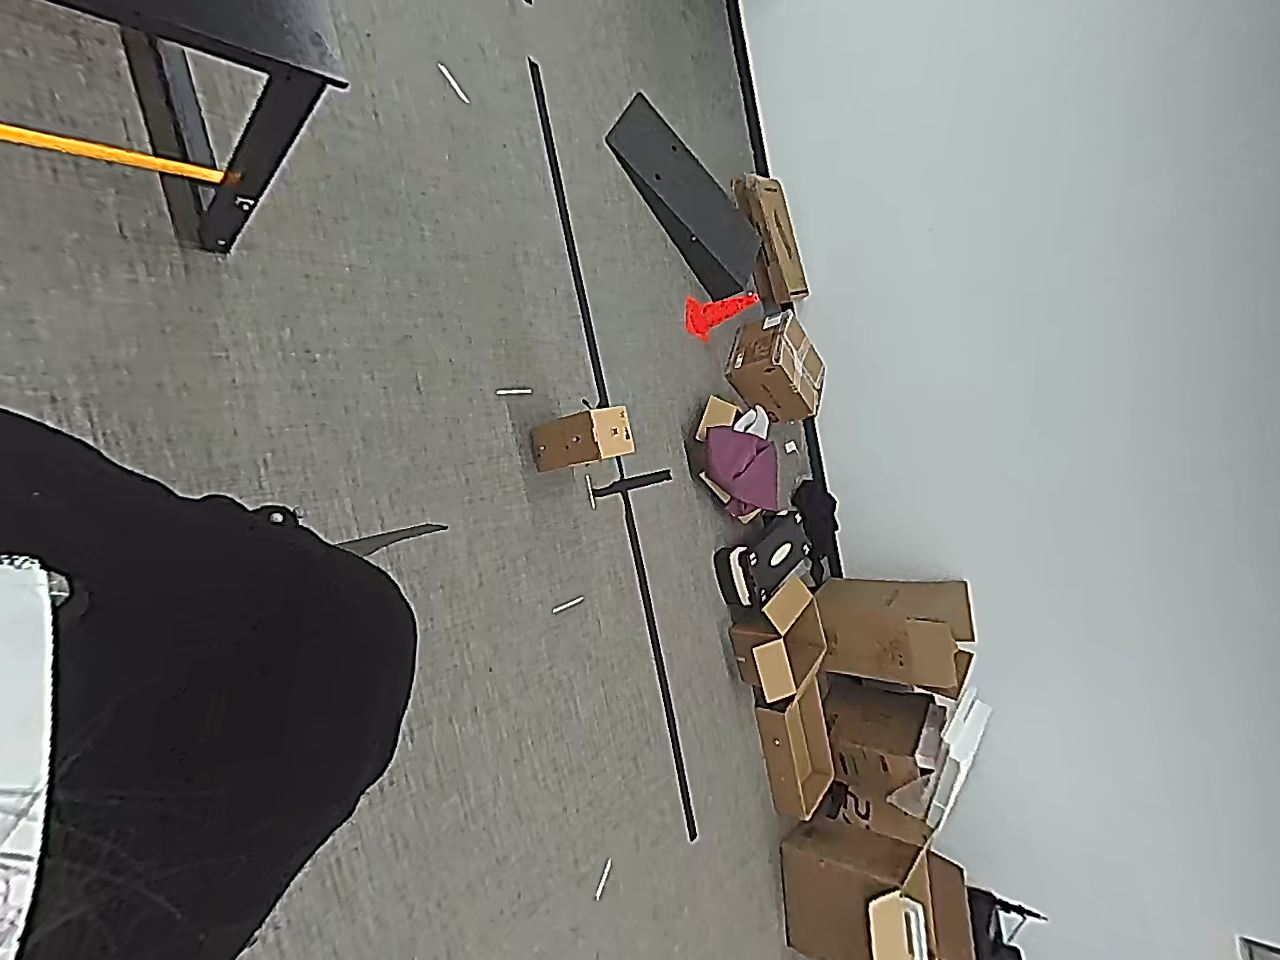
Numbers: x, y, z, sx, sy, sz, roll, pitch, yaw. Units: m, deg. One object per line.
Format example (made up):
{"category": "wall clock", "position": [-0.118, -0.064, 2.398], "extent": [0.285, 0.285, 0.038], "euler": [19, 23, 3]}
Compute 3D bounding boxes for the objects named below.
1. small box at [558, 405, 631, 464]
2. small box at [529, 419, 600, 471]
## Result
{"category": "small box", "position": [-0.162, -0.156, 1.850], "extent": [0.179, 0.176, 0.168], "euler": [-16, 95, -48]}
{"category": "small box", "position": [-0.276, -0.133, 1.966], "extent": [0.179, 0.176, 0.168], "euler": [-13, 93, -49]}
